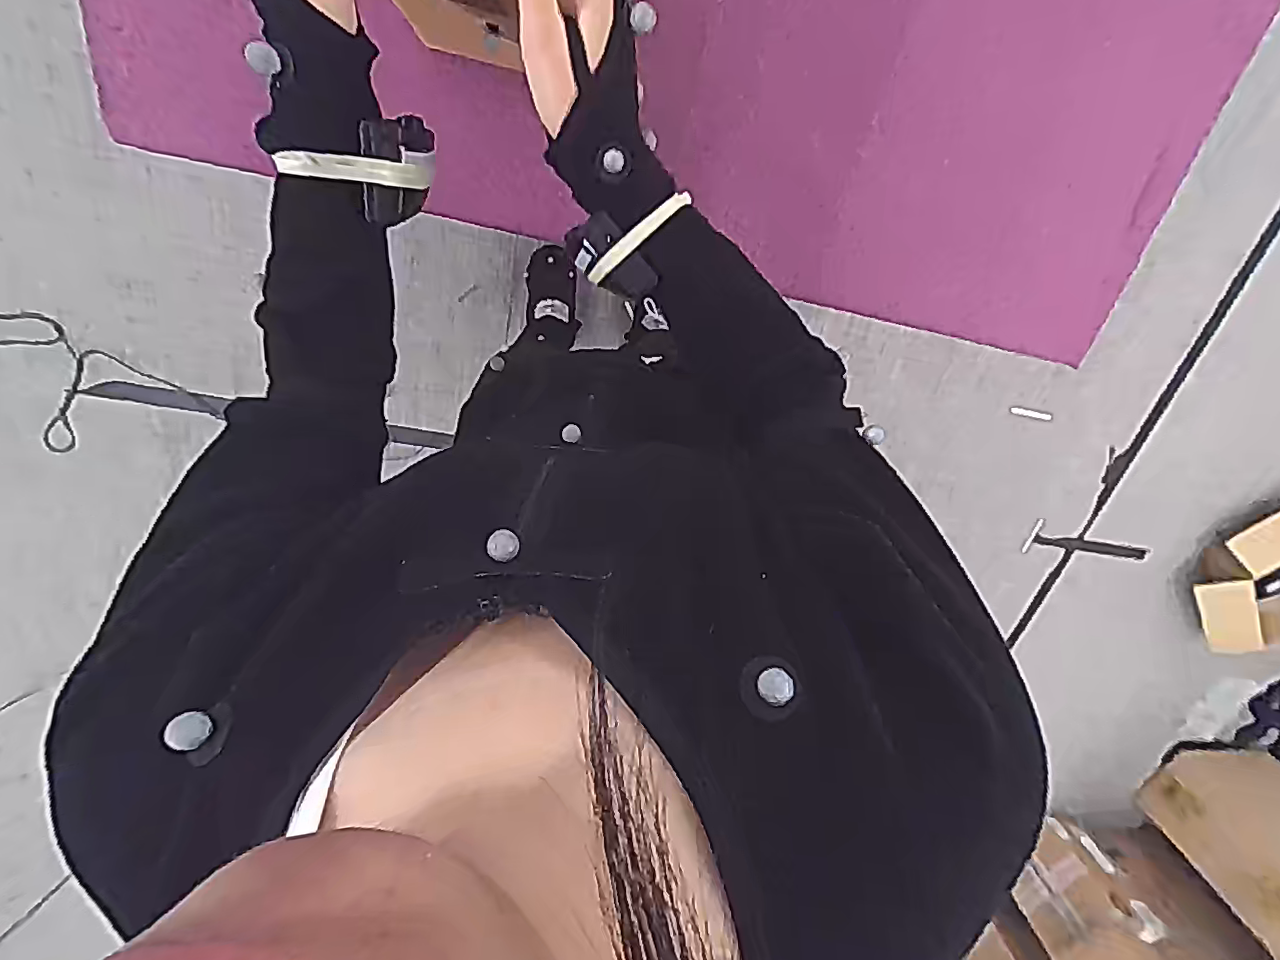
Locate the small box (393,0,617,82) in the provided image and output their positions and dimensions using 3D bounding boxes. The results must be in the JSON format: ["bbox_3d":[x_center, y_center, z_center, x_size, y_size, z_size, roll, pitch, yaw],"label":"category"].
[{"bbox_3d":[-0.103,-0.460,0.449,0.179,0.176,0.168,8,115,-12],"label":"small box"}]

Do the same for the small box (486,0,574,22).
[{"bbox_3d":[-0.099,-0.403,0.293,0.168,0.176,0.179,10,115,-13],"label":"small box"}]
